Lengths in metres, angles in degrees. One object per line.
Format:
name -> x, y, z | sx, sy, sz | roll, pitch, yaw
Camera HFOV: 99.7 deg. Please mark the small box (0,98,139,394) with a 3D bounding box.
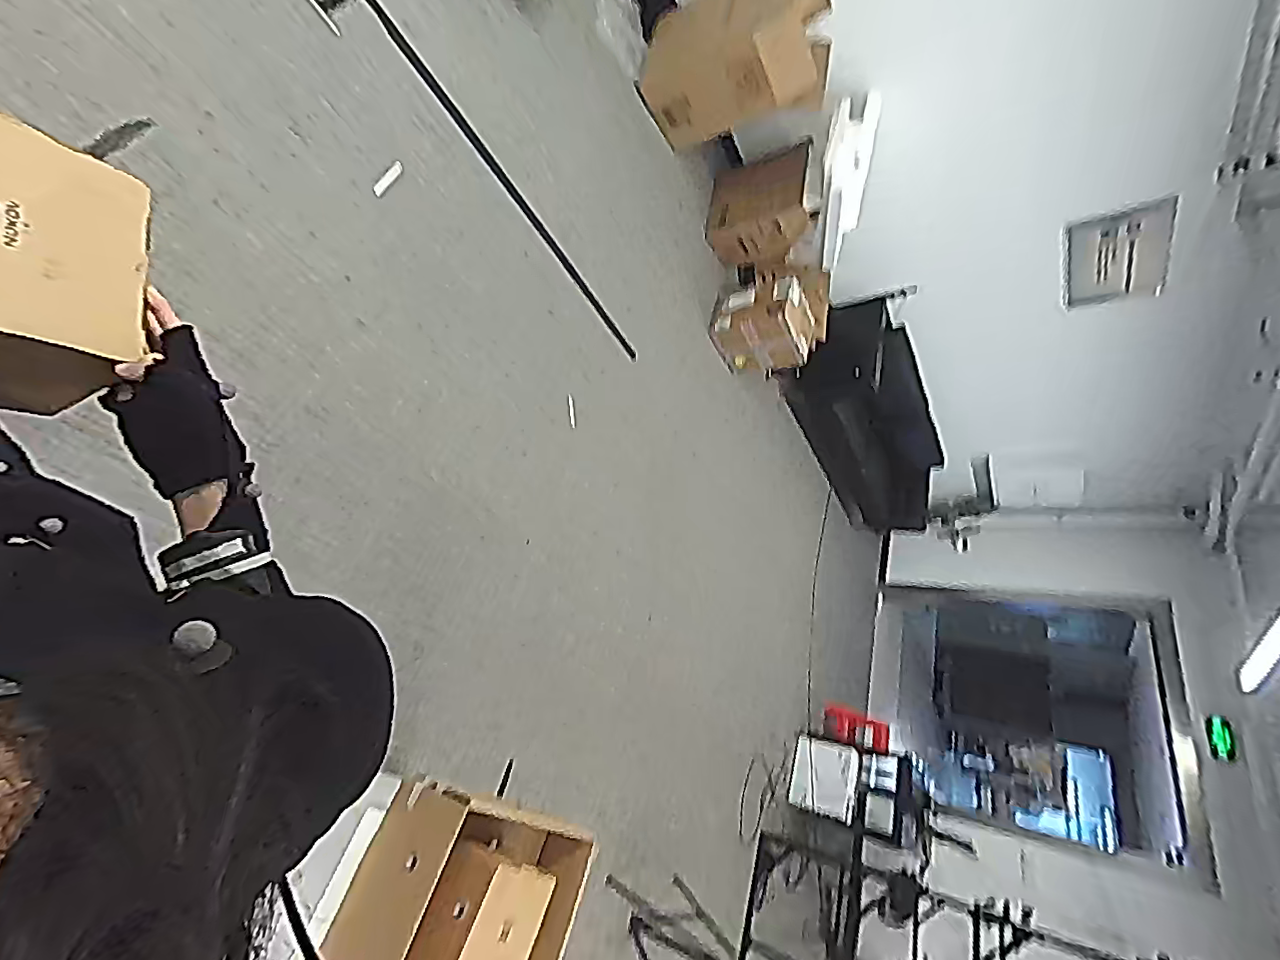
small box -> -0.516, -0.173, 0.390 | 0.179, 0.176, 0.168 | 14, 64, -65
